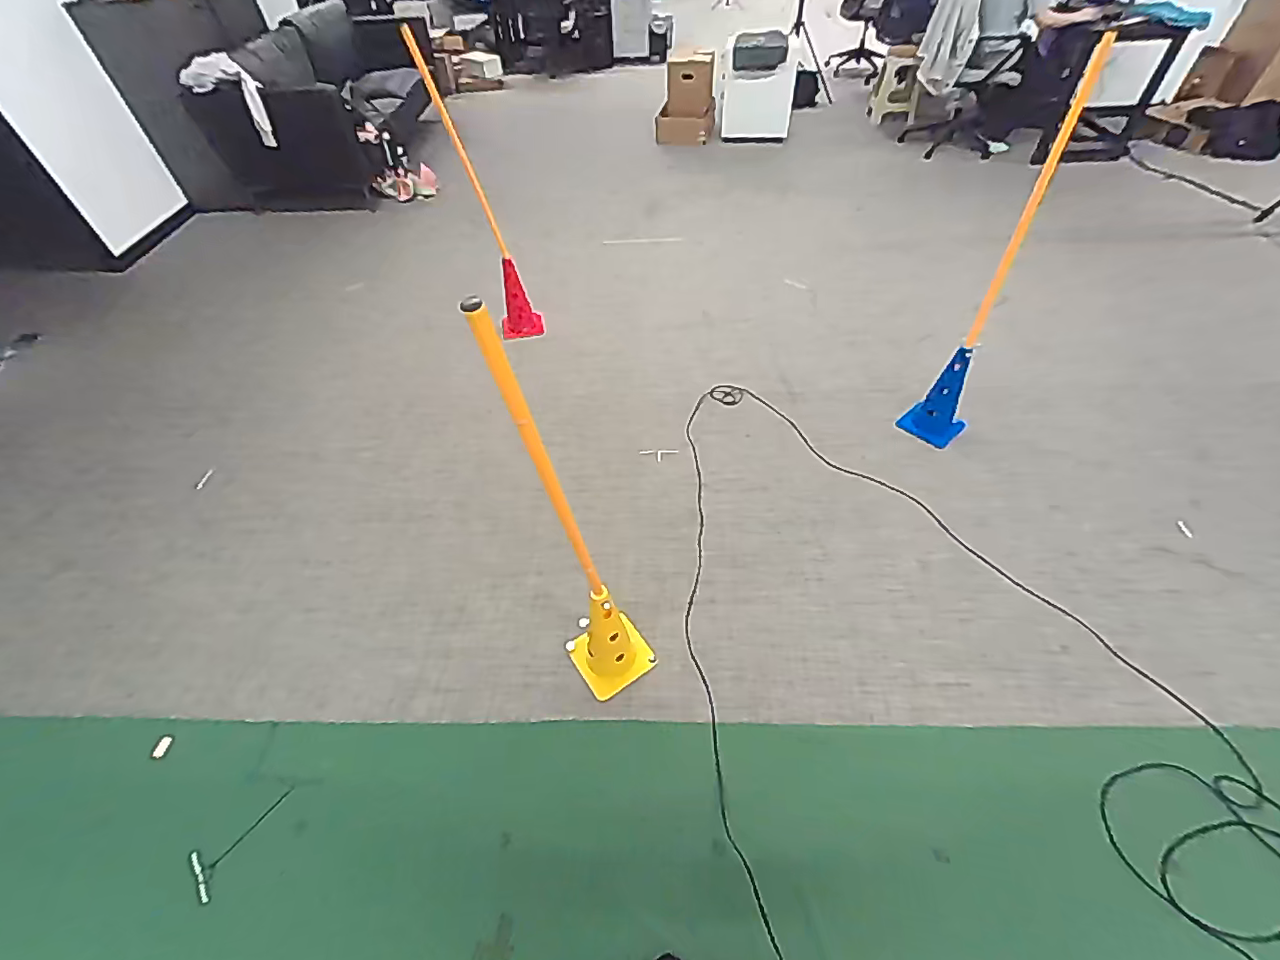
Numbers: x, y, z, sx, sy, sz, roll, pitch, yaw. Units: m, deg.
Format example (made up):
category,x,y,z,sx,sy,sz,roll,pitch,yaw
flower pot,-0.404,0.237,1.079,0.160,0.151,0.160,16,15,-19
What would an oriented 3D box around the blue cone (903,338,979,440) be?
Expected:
category,x,y,z,sx,sy,sz,roll,pitch,yaw
blue cone,1.127,-0.349,1.966,0.193,0.380,0.192,-36,55,-27
